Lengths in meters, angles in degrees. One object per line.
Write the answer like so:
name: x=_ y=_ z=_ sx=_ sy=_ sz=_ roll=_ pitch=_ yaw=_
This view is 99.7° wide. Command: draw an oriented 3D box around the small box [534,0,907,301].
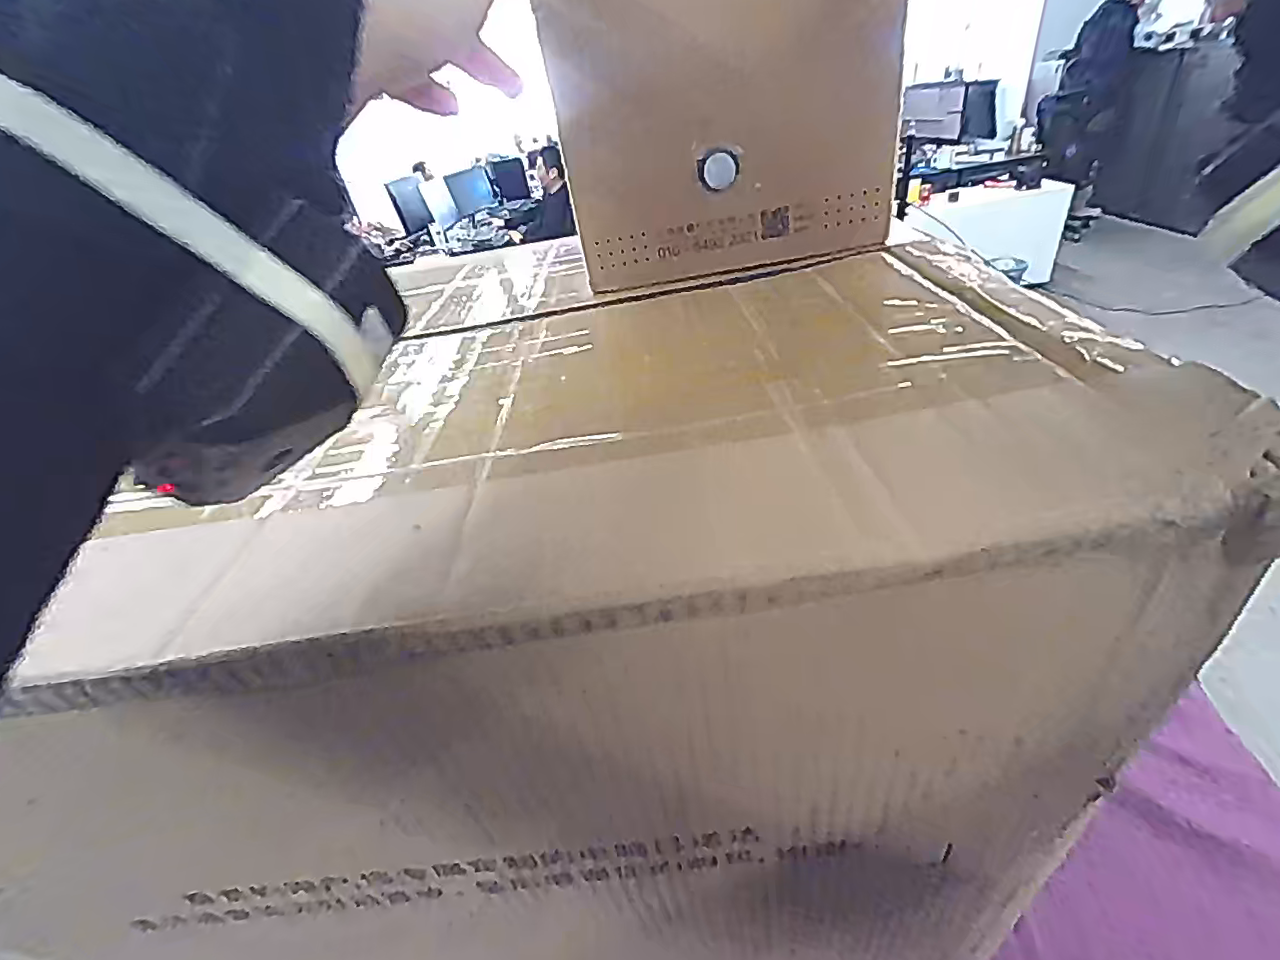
small box: x=0.041 y=-0.223 z=0.327 sx=0.168 sy=0.176 sz=0.179 roll=-8 pitch=35 yaw=6
